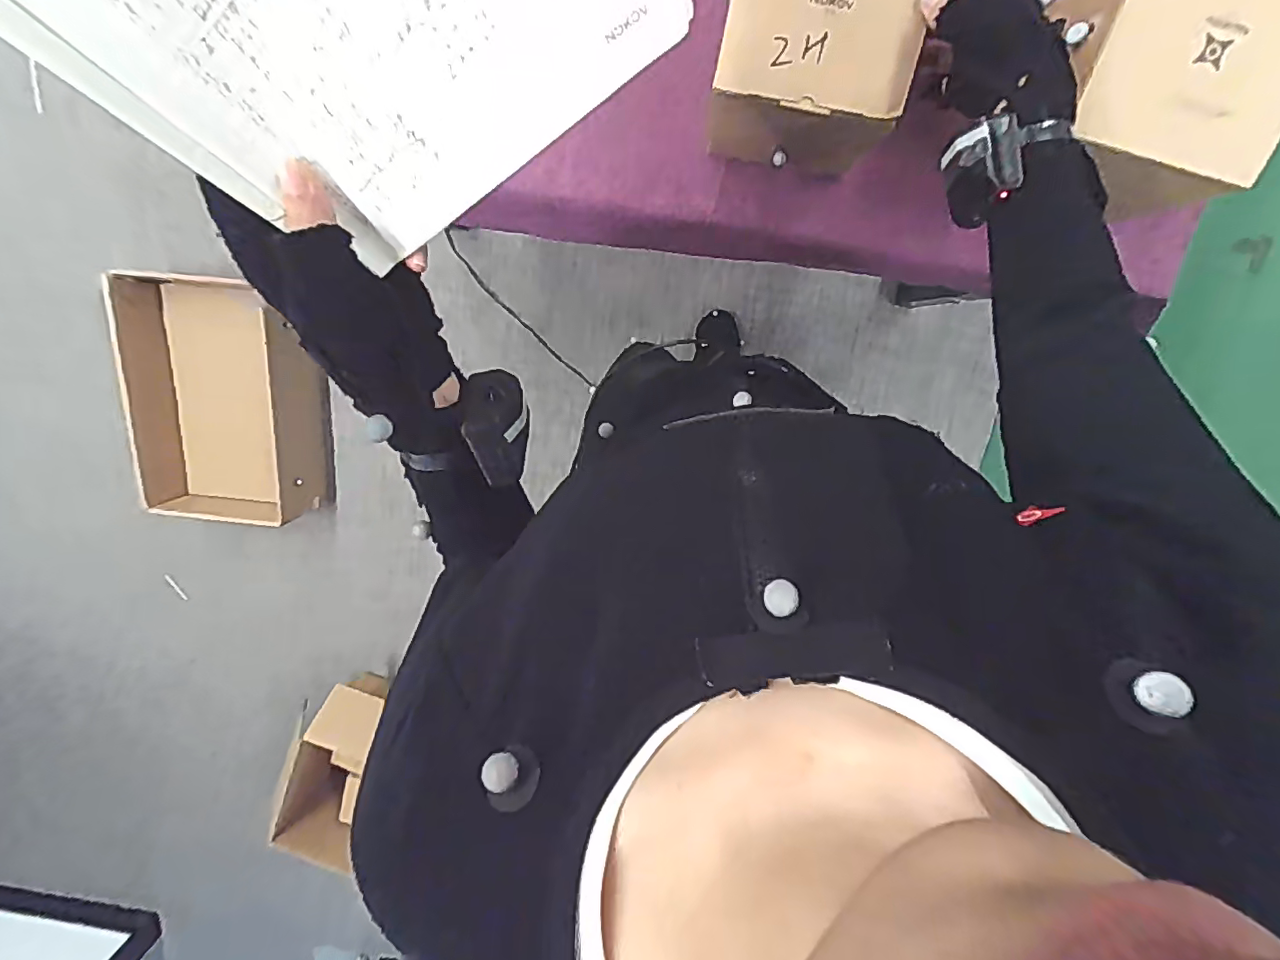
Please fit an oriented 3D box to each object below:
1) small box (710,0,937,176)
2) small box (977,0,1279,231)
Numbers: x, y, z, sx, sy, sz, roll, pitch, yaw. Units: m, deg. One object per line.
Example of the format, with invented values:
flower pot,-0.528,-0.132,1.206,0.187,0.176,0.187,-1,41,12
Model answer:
small box,0.167,-0.424,0.521,0.168,0.176,0.179,13,106,1
small box,0.468,-0.363,0.516,0.168,0.176,0.179,18,106,0
